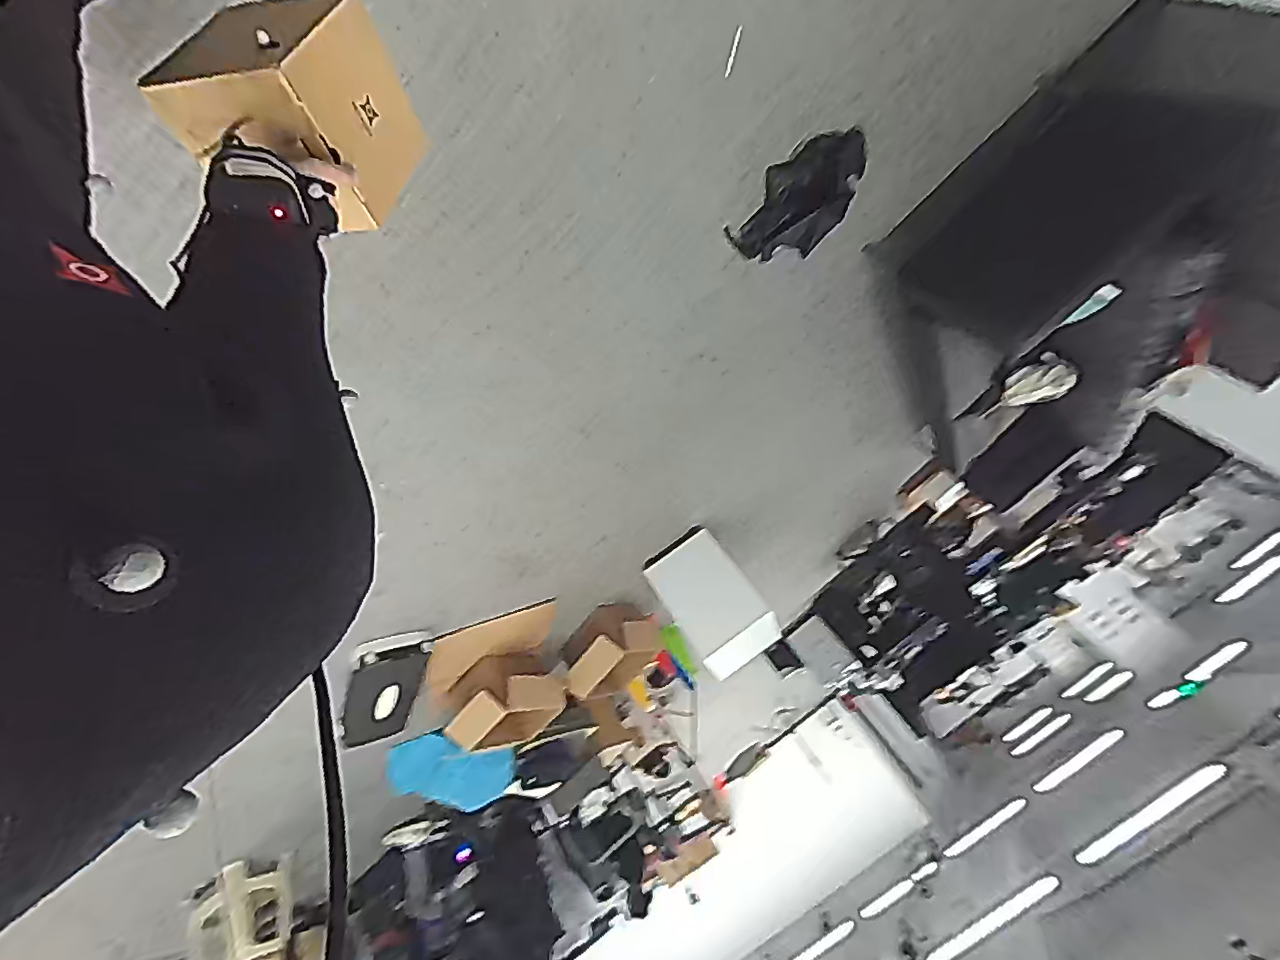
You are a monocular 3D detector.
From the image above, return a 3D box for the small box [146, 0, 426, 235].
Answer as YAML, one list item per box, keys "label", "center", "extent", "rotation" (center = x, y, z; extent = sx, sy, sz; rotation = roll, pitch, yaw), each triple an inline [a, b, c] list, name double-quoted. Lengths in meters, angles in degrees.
- label: "small box"
  center: [-0.379, -0.401, 0.605]
  extent: [0.176, 0.179, 0.168]
  rotation: [4, 151, 12]
